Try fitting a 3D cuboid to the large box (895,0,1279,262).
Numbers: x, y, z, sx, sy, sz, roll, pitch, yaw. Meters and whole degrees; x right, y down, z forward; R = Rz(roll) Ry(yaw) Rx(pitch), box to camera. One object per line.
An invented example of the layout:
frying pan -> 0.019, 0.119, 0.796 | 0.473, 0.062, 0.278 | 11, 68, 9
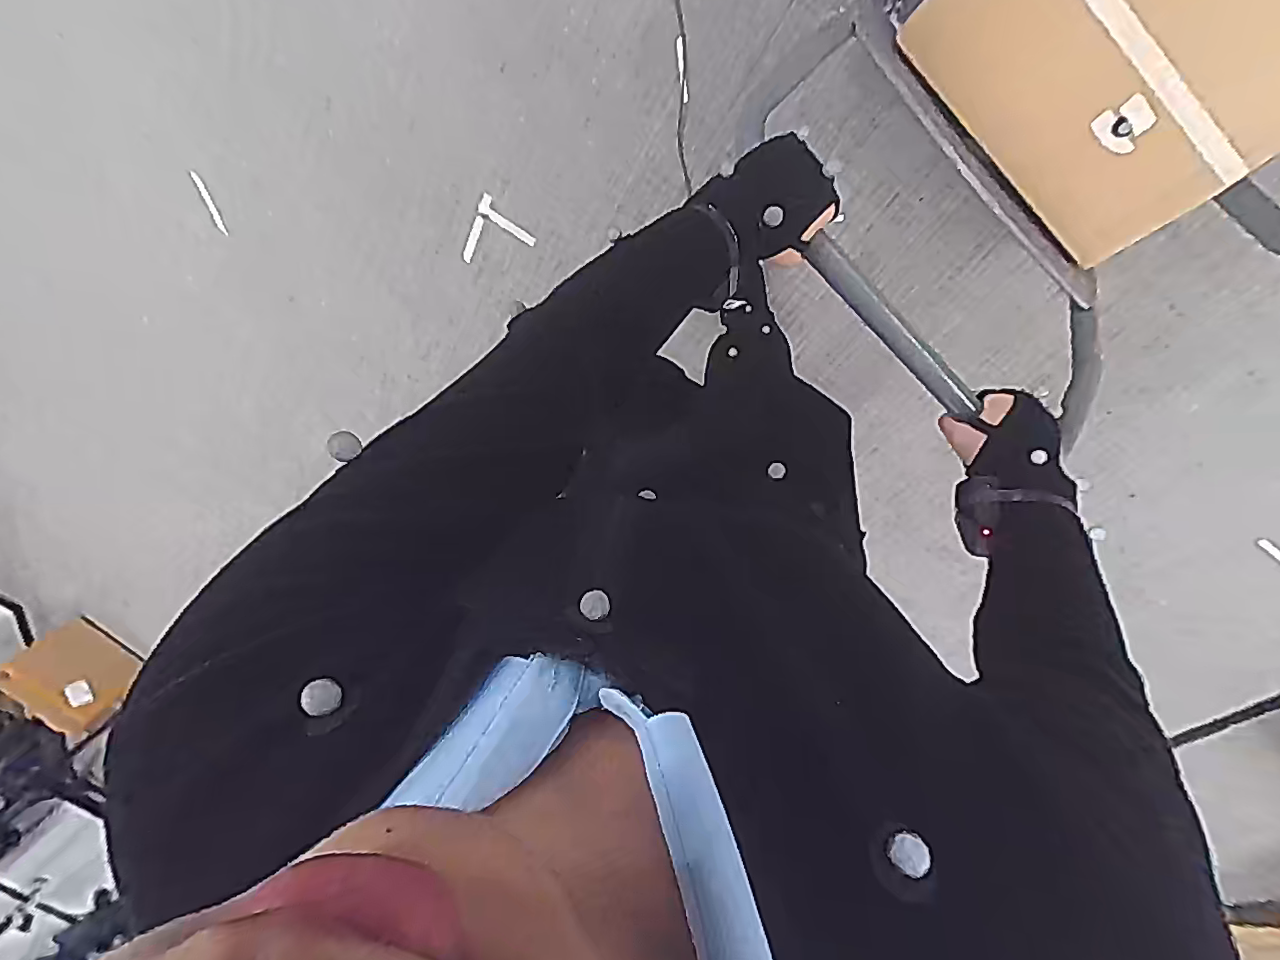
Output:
large box -> 0.606, -0.586, 0.702 | 0.408, 0.320, 0.320 | 41, 140, -11
